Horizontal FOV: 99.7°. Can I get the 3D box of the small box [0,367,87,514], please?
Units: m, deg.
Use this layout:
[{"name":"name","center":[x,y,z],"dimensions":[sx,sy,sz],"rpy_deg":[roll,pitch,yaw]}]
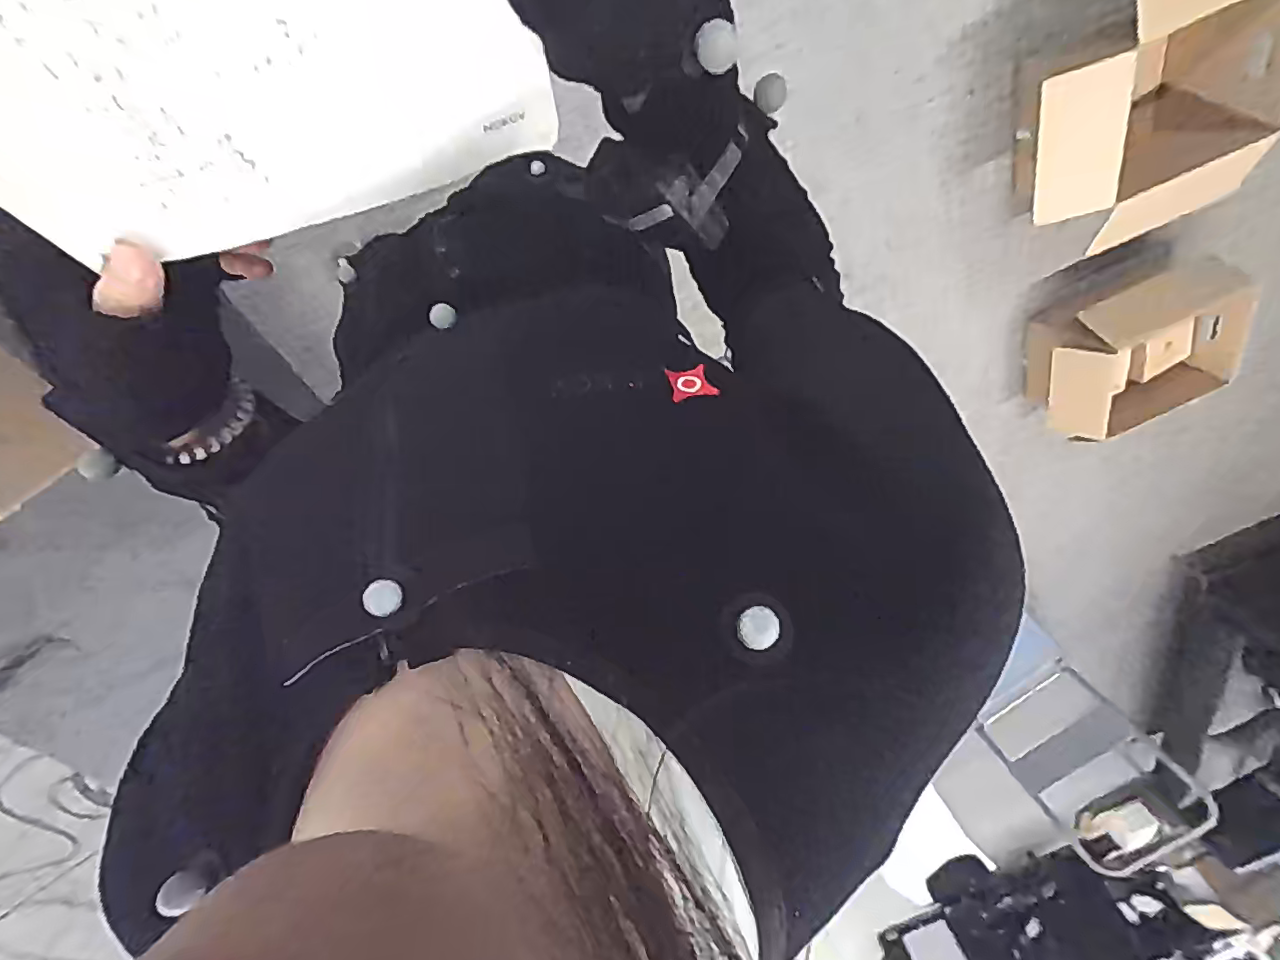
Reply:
[{"name":"small box","center":[-0.700,-0.026,0.501],"dimensions":[0.168,0.176,0.179],"rpy_deg":[-28,123,3]}]
